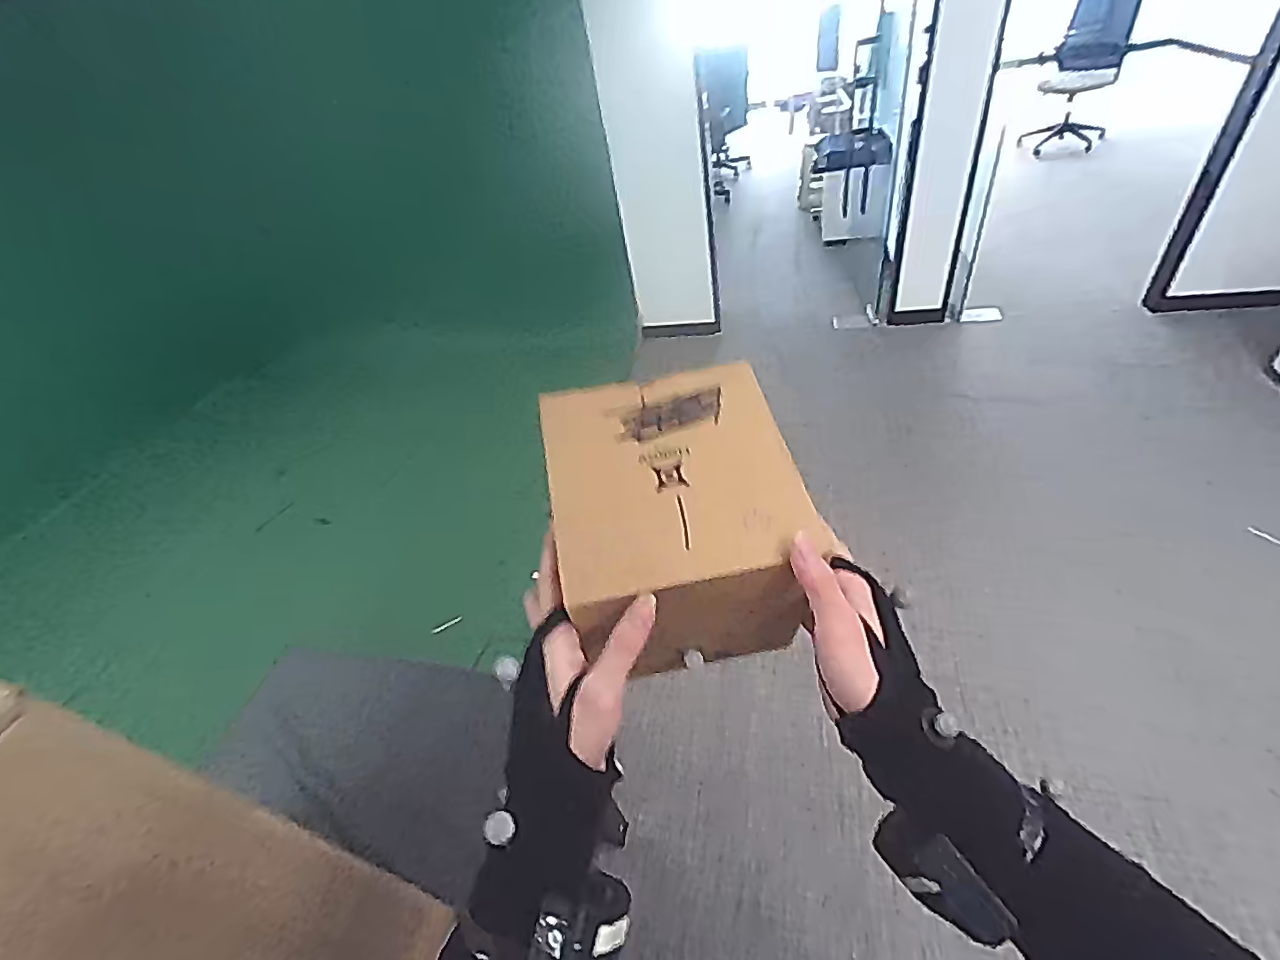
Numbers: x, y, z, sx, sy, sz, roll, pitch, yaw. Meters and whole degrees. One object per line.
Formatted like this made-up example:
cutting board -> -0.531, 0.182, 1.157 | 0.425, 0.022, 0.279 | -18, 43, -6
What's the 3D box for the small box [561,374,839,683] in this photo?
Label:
small box -> 0.034, 0.043, 0.441 | 0.168, 0.176, 0.179 | -10, 54, -3
